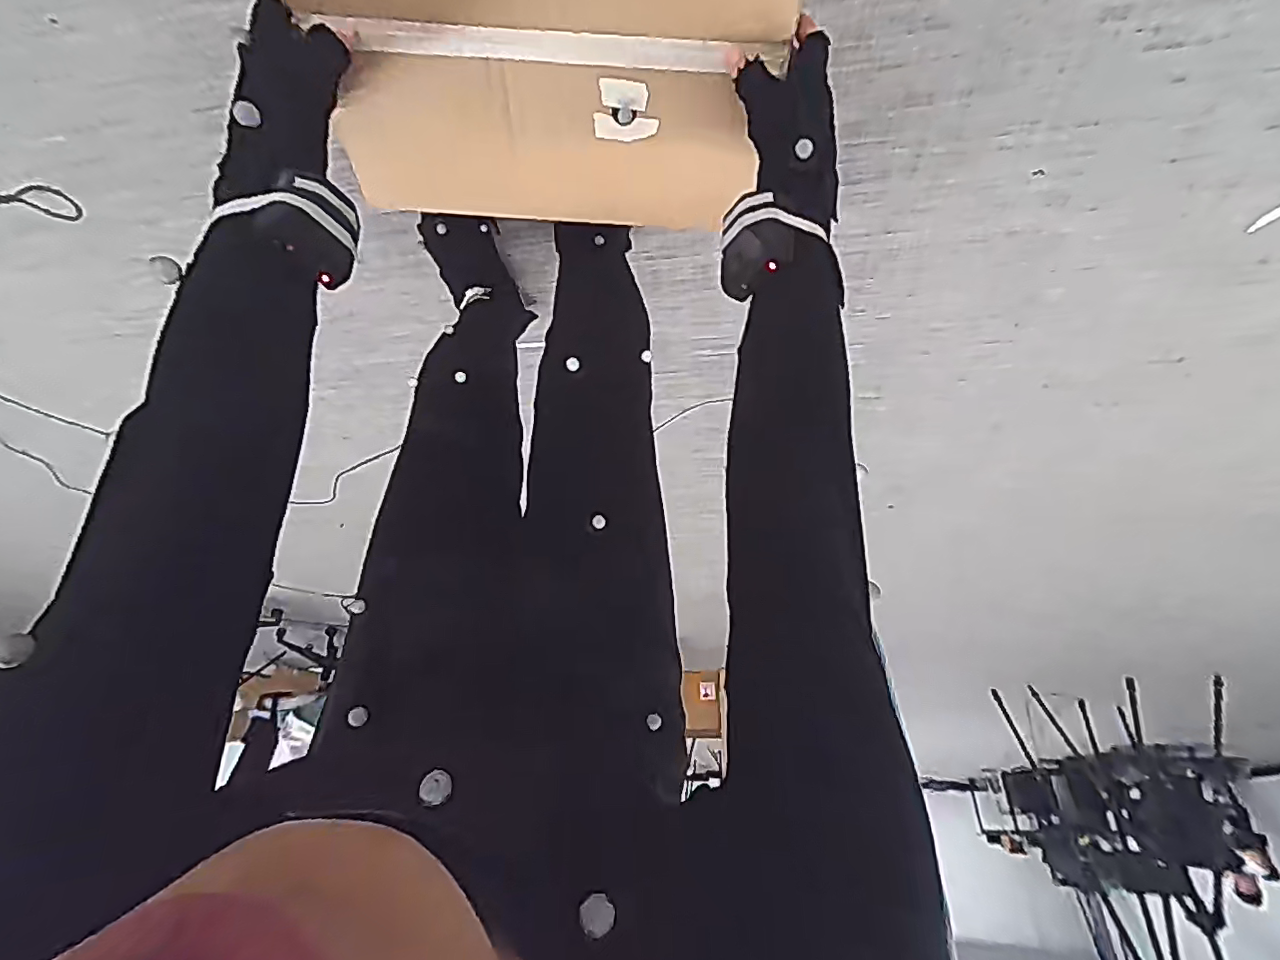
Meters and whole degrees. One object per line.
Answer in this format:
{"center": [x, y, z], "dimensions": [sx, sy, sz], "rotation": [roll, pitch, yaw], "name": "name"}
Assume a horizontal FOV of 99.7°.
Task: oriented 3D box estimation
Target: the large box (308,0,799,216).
{"center": [-0.069, -0.495, 0.531], "dimensions": [0.408, 0.320, 0.320], "rotation": [2, 147, -1], "name": "large box"}
